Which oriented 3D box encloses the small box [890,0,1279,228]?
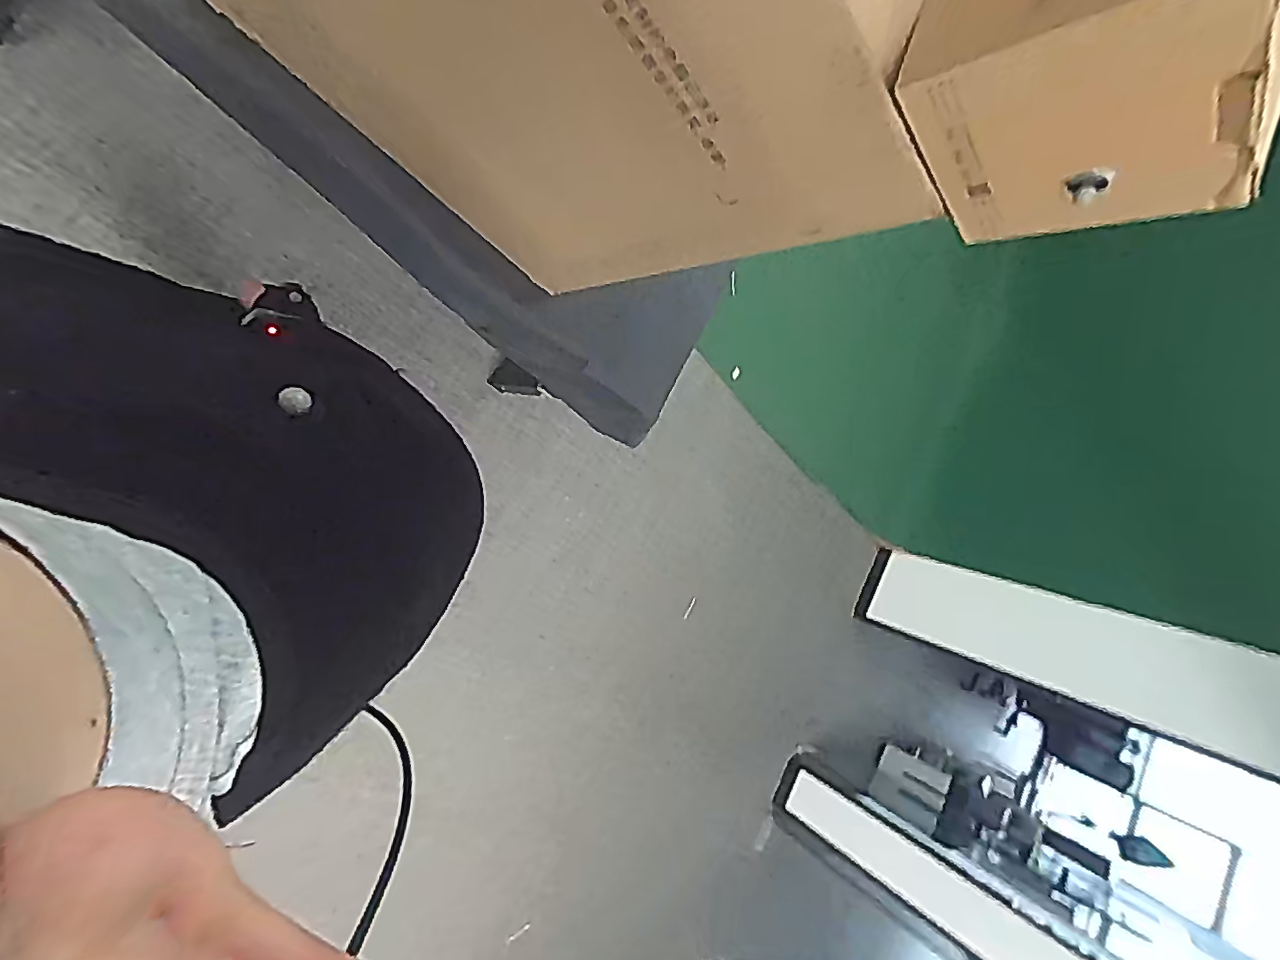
[{"bbox_3d":[0.289,-0.297,0.356,0.168,0.176,0.179,24,83,-44],"label":"small box"}]
